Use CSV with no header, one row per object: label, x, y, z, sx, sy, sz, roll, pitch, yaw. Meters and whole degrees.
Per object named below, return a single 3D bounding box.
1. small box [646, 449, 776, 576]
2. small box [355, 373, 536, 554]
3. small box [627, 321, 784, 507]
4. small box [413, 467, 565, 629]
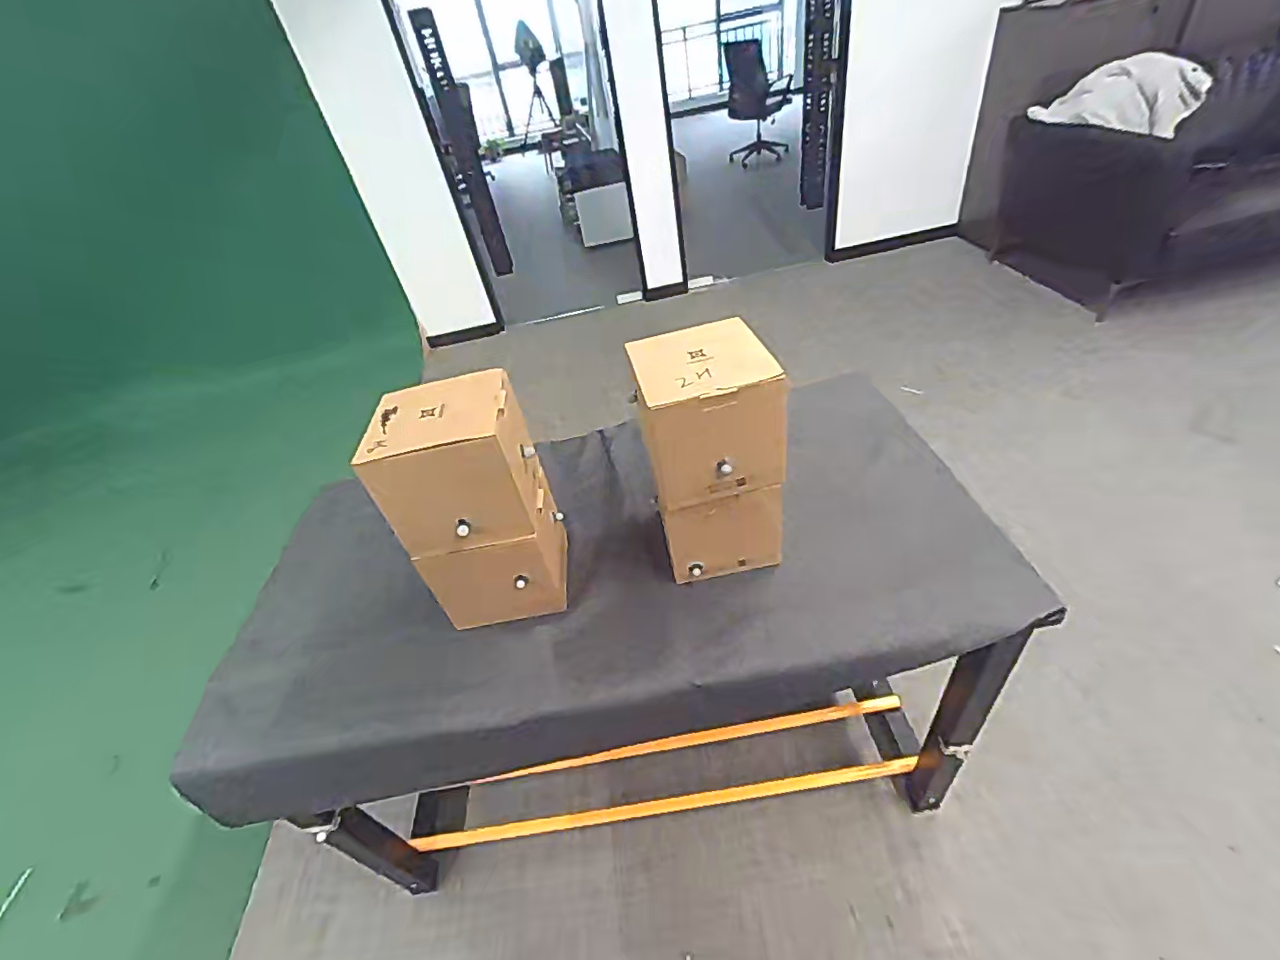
small box,0.111,0.032,0.847,0.168,0.176,0.179,-12,39,0
small box,-0.247,-0.022,0.743,0.179,0.176,0.168,-11,39,0
small box,0.086,-0.091,0.740,0.168,0.176,0.179,-14,40,-2
small box,-0.218,0.107,0.841,0.179,0.176,0.168,-12,38,1
